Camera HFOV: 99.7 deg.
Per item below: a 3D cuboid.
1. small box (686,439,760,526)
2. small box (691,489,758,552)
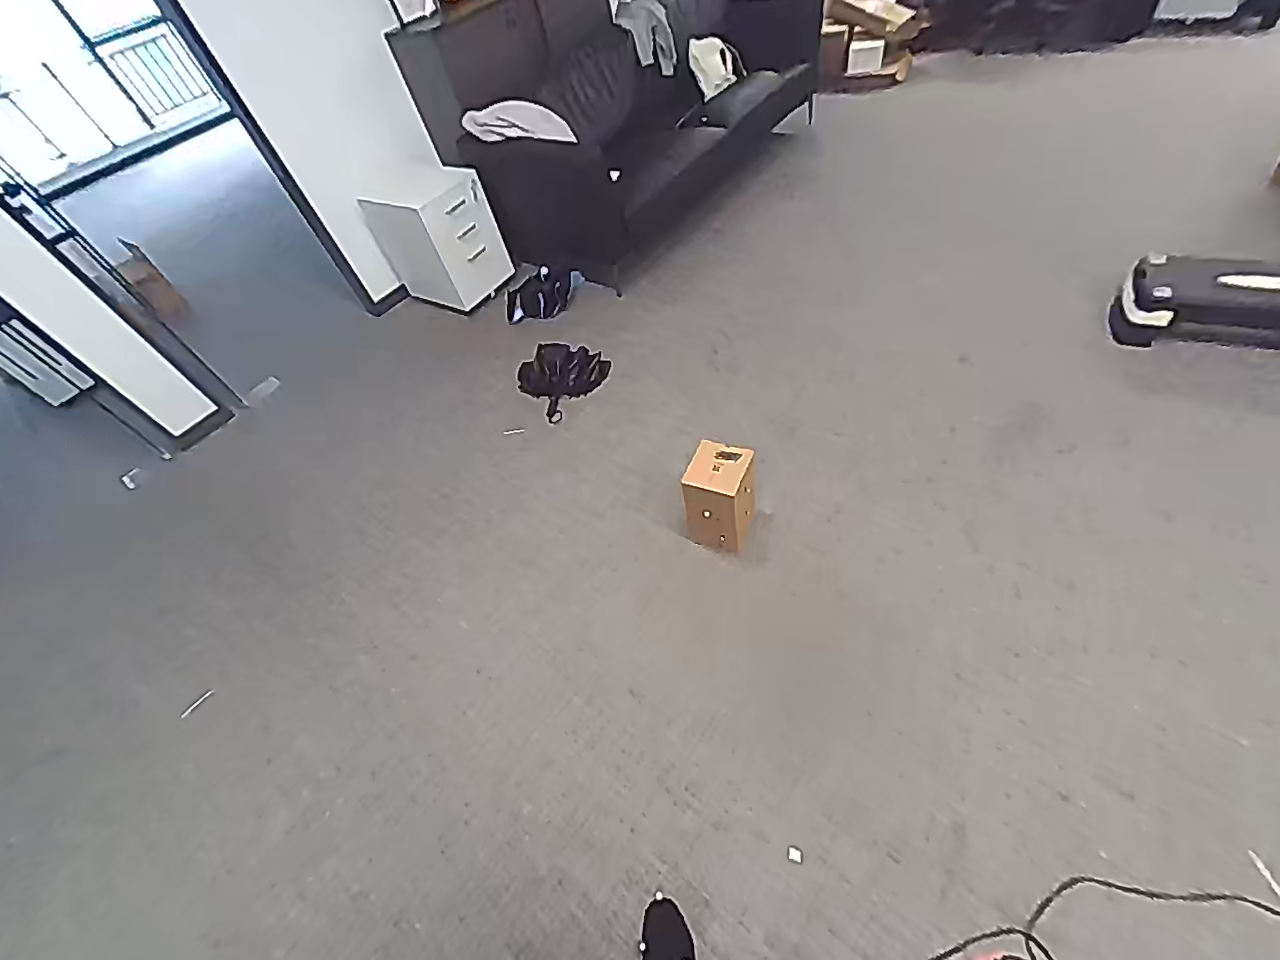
[{"bbox_3d":[0.252,0.008,1.615,0.168,0.176,0.179,15,58,25],"label":"small box"},{"bbox_3d":[0.281,0.106,1.745,0.168,0.176,0.179,14,55,24],"label":"small box"}]
